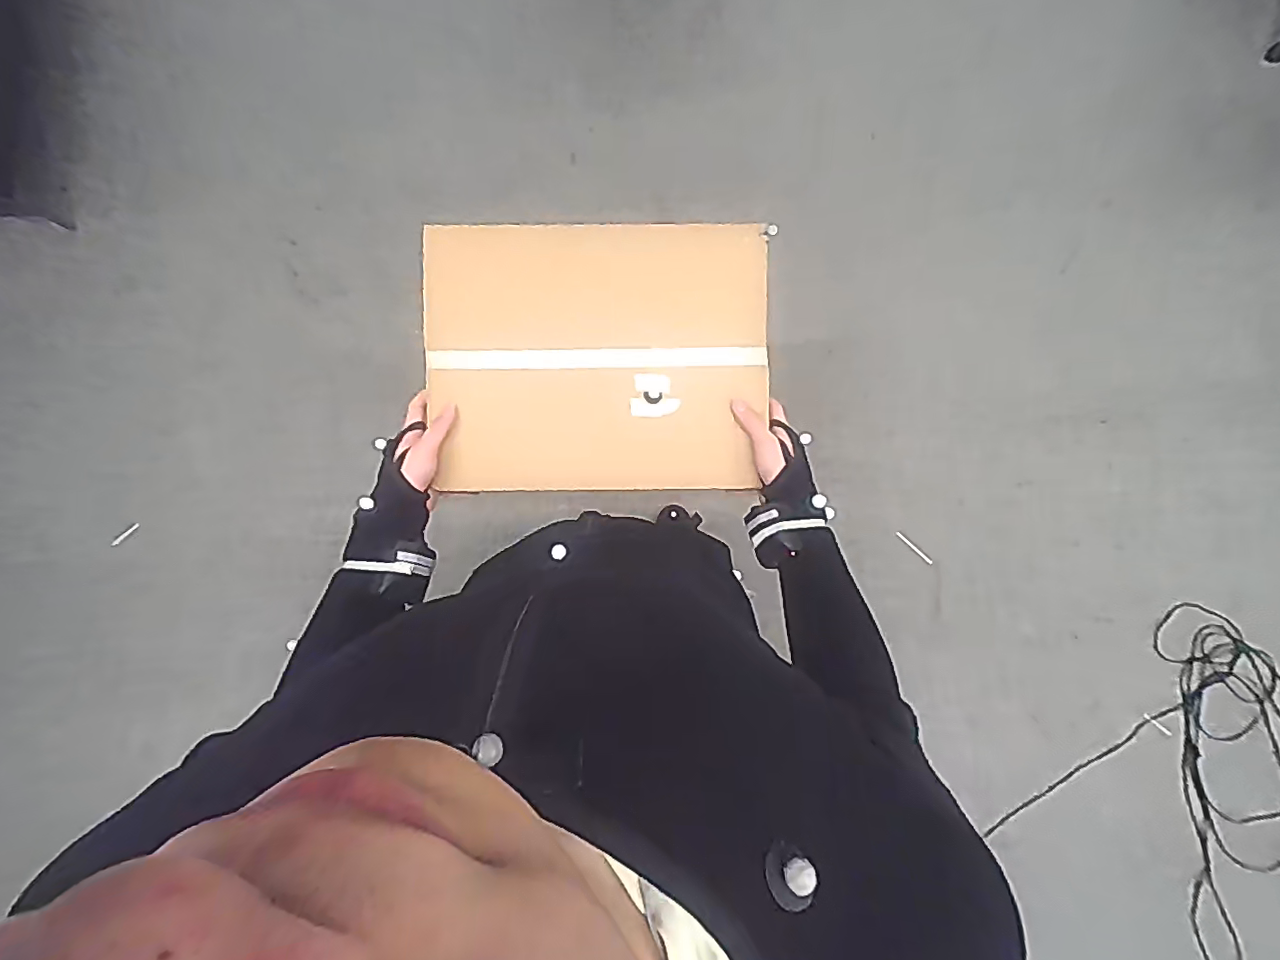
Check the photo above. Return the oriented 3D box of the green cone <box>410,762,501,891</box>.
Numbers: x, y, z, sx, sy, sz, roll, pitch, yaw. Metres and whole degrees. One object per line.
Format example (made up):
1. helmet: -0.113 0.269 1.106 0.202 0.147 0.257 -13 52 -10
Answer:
1. green cone: -0.518 0.935 1.431 0.200 0.368 0.202 5 88 0

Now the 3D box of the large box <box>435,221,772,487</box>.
1. large box: -0.045 -0.158 0.797 0.408 0.320 0.320 -1 94 -1
